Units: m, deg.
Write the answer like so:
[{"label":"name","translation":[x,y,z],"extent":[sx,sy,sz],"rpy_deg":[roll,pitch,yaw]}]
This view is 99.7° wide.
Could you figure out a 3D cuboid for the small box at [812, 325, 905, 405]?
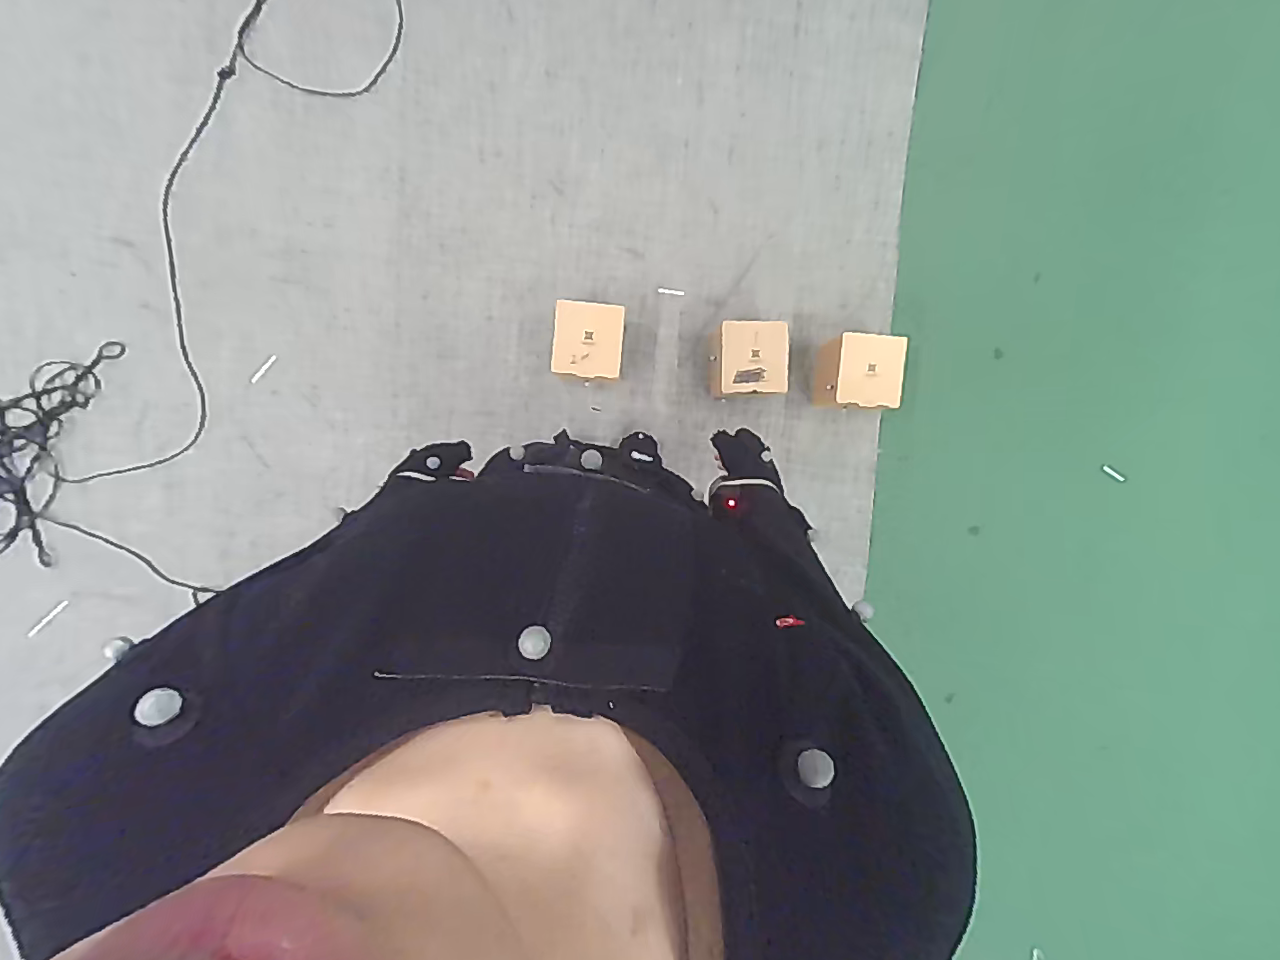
[{"label":"small box","translation":[0.560,-0.292,1.405],"extent":[0.168,0.176,0.179],"rpy_deg":[4,95,-3]}]

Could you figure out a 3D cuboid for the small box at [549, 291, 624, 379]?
[{"label":"small box","translation":[-0.130,-0.357,1.357],"extent":[0.168,0.176,0.179],"rpy_deg":[5,95,-3]}]

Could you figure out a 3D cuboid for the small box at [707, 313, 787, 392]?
[{"label":"small box","translation":[0.269,-0.319,1.385],"extent":[0.168,0.176,0.179],"rpy_deg":[0,94,-4]}]
